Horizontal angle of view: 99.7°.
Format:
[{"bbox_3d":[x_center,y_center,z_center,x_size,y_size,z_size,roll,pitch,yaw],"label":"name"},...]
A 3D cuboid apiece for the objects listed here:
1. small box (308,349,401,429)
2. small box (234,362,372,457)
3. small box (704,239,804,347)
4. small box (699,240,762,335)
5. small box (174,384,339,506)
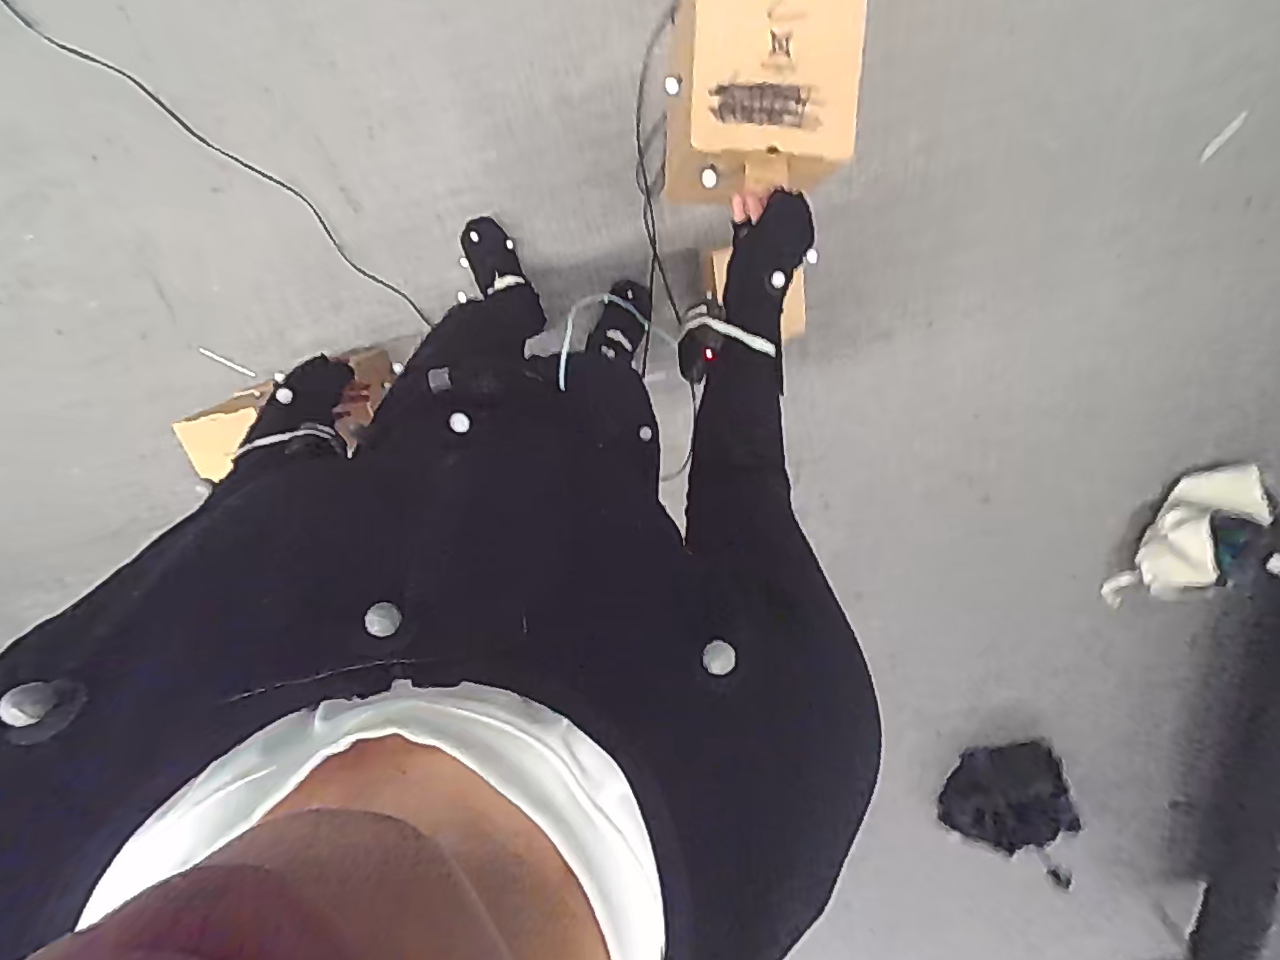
[{"bbox_3d":[-0.725,-0.219,1.352,0.179,0.176,0.168,-10,114,5],"label":"small box"},{"bbox_3d":[-0.733,-0.149,1.203,0.168,0.176,0.179,-9,114,5],"label":"small box"},{"bbox_3d":[0.226,-0.384,1.098,0.168,0.176,0.179,-9,115,4],"label":"small box"},{"bbox_3d":[0.229,-0.442,1.234,0.168,0.176,0.179,-7,115,3],"label":"small box"},{"bbox_3d":[-0.732,-0.072,1.059,0.168,0.176,0.179,-10,114,5],"label":"small box"}]
